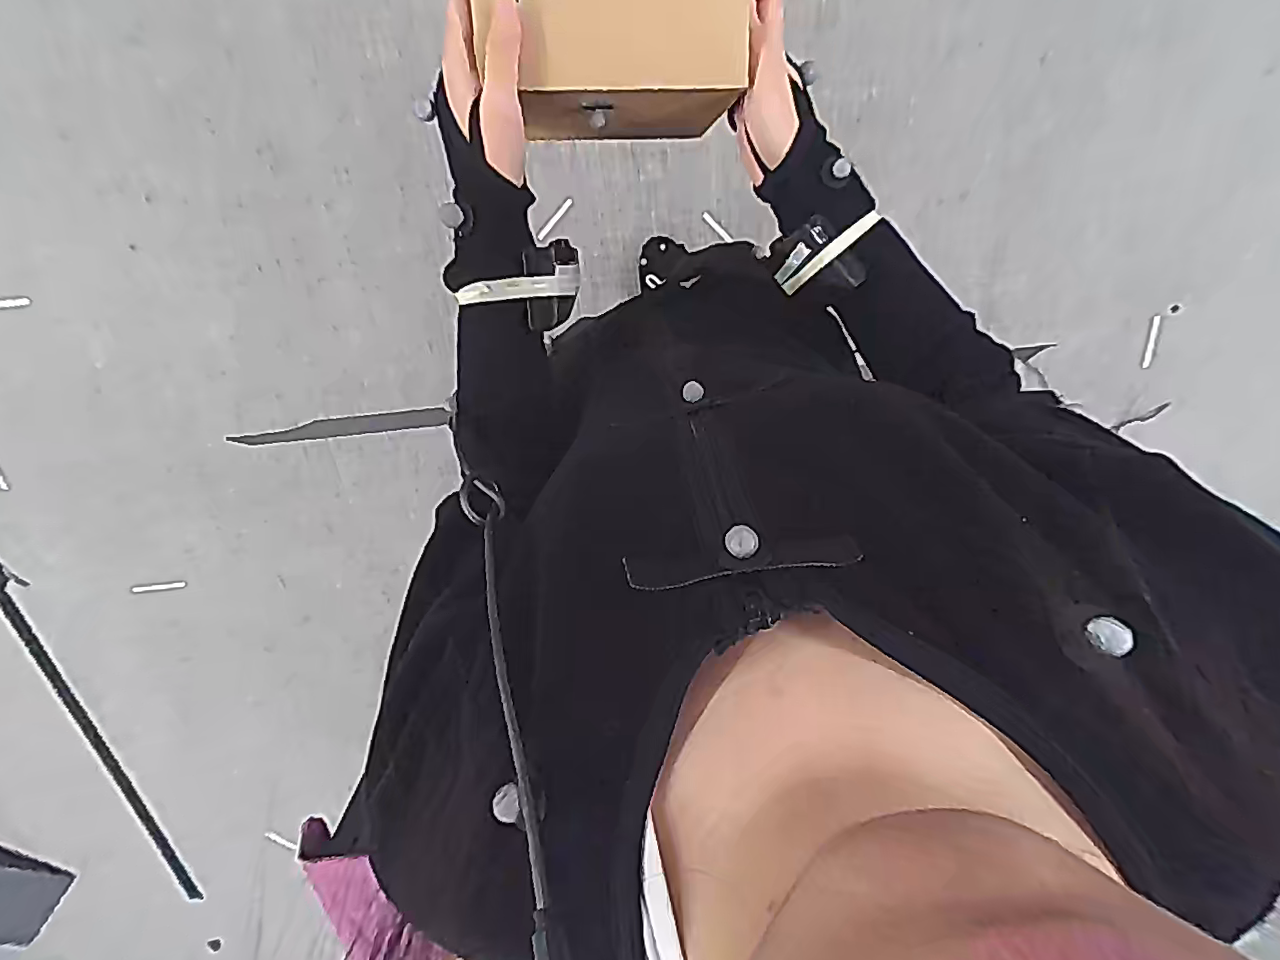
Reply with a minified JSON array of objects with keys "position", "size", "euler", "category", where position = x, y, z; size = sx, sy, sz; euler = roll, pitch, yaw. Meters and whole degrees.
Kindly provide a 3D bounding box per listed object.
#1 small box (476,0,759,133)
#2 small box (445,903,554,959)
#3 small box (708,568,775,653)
[{"position":[-0.020,-0.360,0.388],"size":[0.179,0.176,0.168],"euler":[-4,113,-4],"category":"small box"},{"position":[-0.264,0.931,1.004],"size":[0.179,0.176,0.168],"euler":[-5,112,-1],"category":"small box"},{"position":[0.298,0.384,1.605],"size":[0.168,0.176,0.179],"euler":[-5,112,-1],"category":"small box"}]
